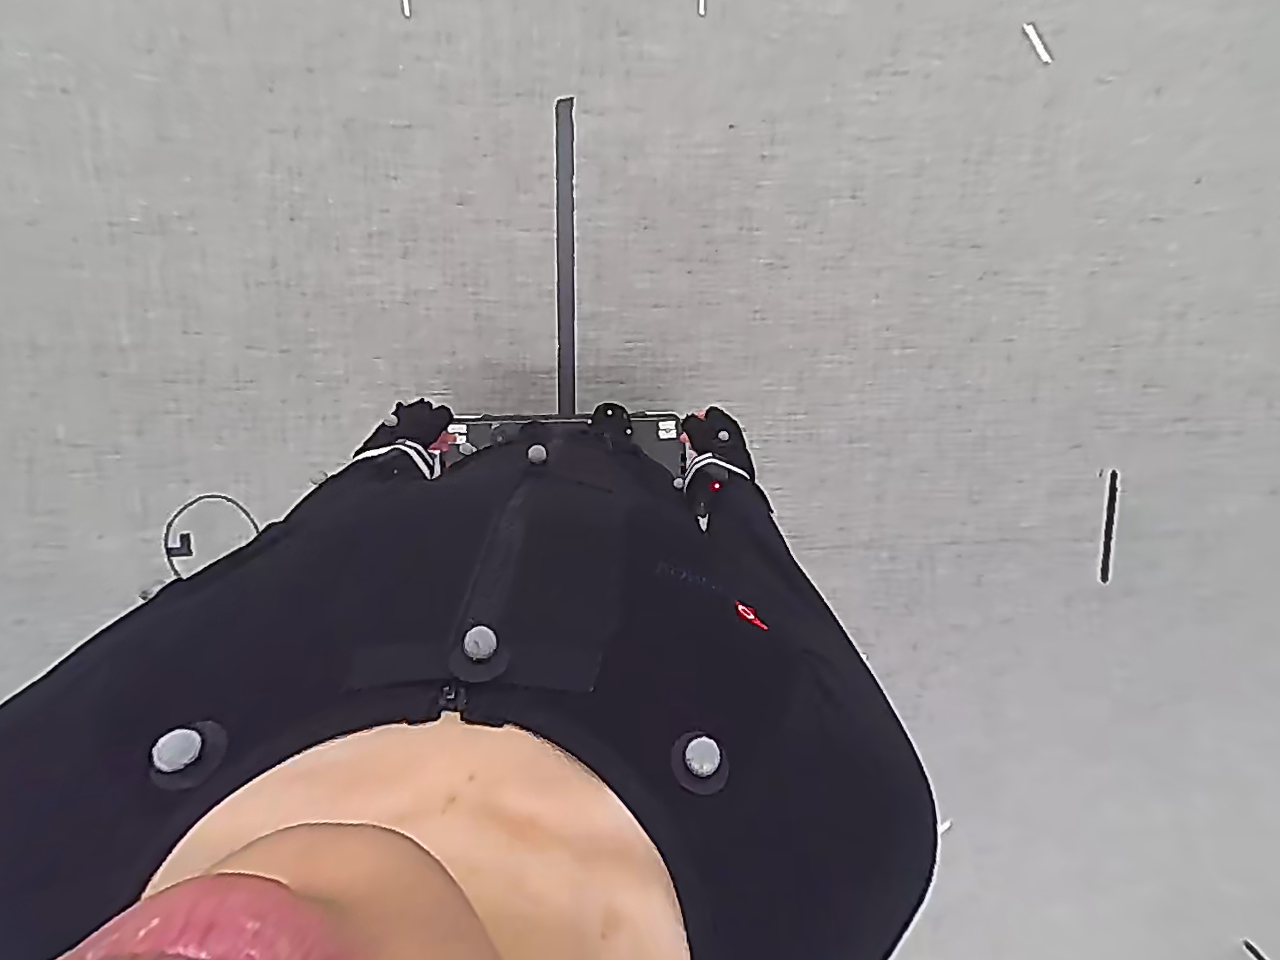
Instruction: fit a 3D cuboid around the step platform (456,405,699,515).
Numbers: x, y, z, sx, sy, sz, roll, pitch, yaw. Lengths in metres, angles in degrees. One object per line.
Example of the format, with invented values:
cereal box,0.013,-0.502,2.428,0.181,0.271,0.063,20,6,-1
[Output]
step platform,-0.172,-0.062,1.560,0.684,0.204,0.286,-3,98,-6
